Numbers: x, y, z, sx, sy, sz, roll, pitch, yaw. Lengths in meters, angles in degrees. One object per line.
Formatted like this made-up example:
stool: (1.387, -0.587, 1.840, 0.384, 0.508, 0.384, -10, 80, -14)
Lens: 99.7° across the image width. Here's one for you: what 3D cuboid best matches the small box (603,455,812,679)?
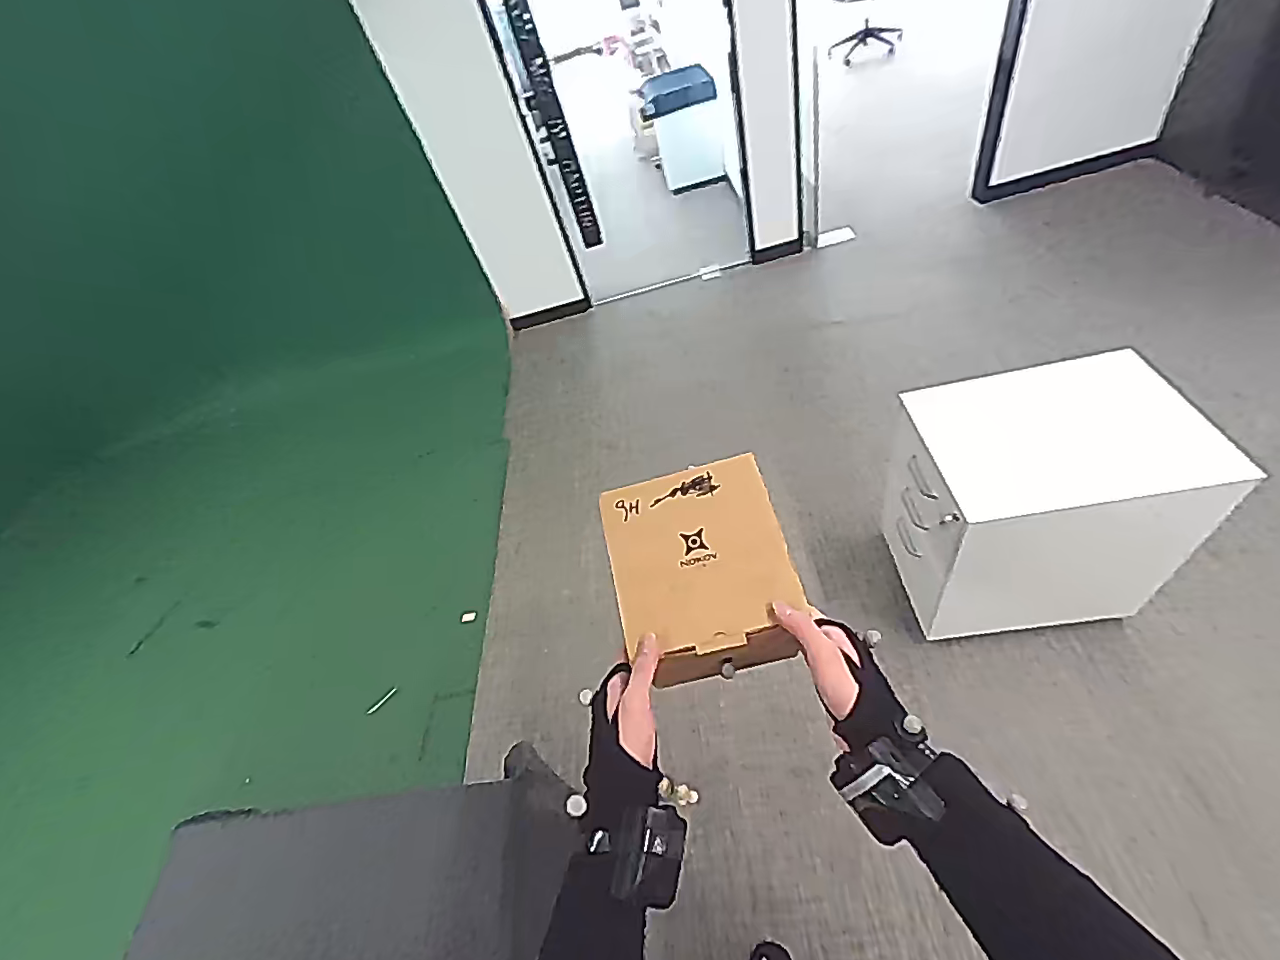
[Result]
small box: (0.073, 0.106, 0.587, 0.168, 0.176, 0.179, -17, 59, 3)
